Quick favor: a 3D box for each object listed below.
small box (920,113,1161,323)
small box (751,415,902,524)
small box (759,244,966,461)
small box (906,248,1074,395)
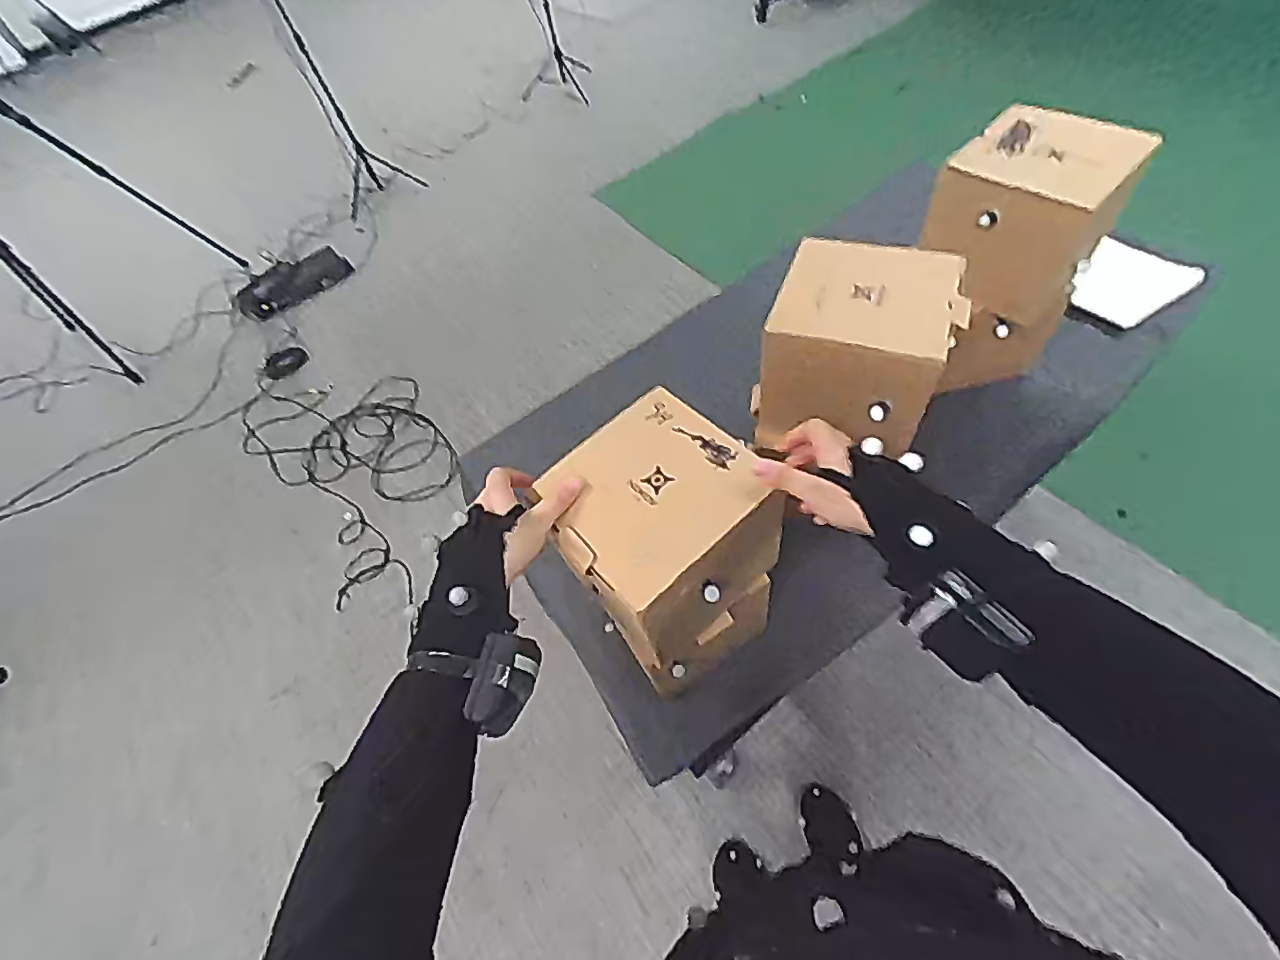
[{"bbox_3d":[0.500,-0.339,0.710,0.168,0.176,0.179,-41,60,-15],"label":"small box"},{"bbox_3d":[0.255,-0.051,0.766,0.179,0.176,0.168,5,58,14],"label":"small box"},{"bbox_3d":[0.248,-0.144,0.632,0.179,0.176,0.168,16,60,20],"label":"small box"},{"bbox_3d":[0.514,-0.258,0.854,0.179,0.176,0.168,-12,56,3],"label":"small box"}]
